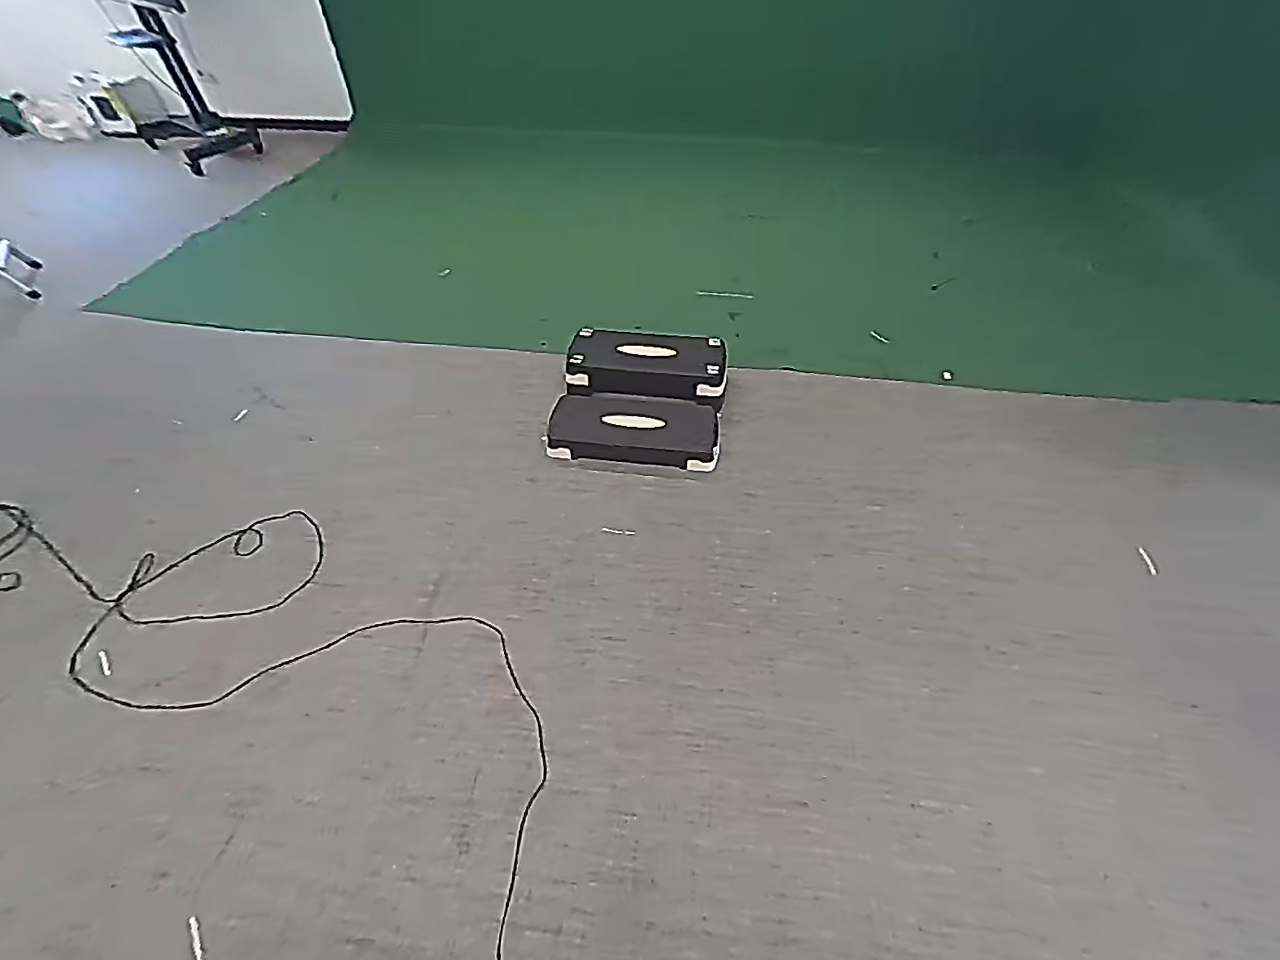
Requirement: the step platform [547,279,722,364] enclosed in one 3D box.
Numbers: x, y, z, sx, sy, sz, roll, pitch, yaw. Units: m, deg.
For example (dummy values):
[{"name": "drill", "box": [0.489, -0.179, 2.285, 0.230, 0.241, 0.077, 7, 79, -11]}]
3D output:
[{"name": "step platform", "box": [-0.018, -0.643, 2.195, 0.684, 0.204, 0.286, 5, 49, 6]}]
